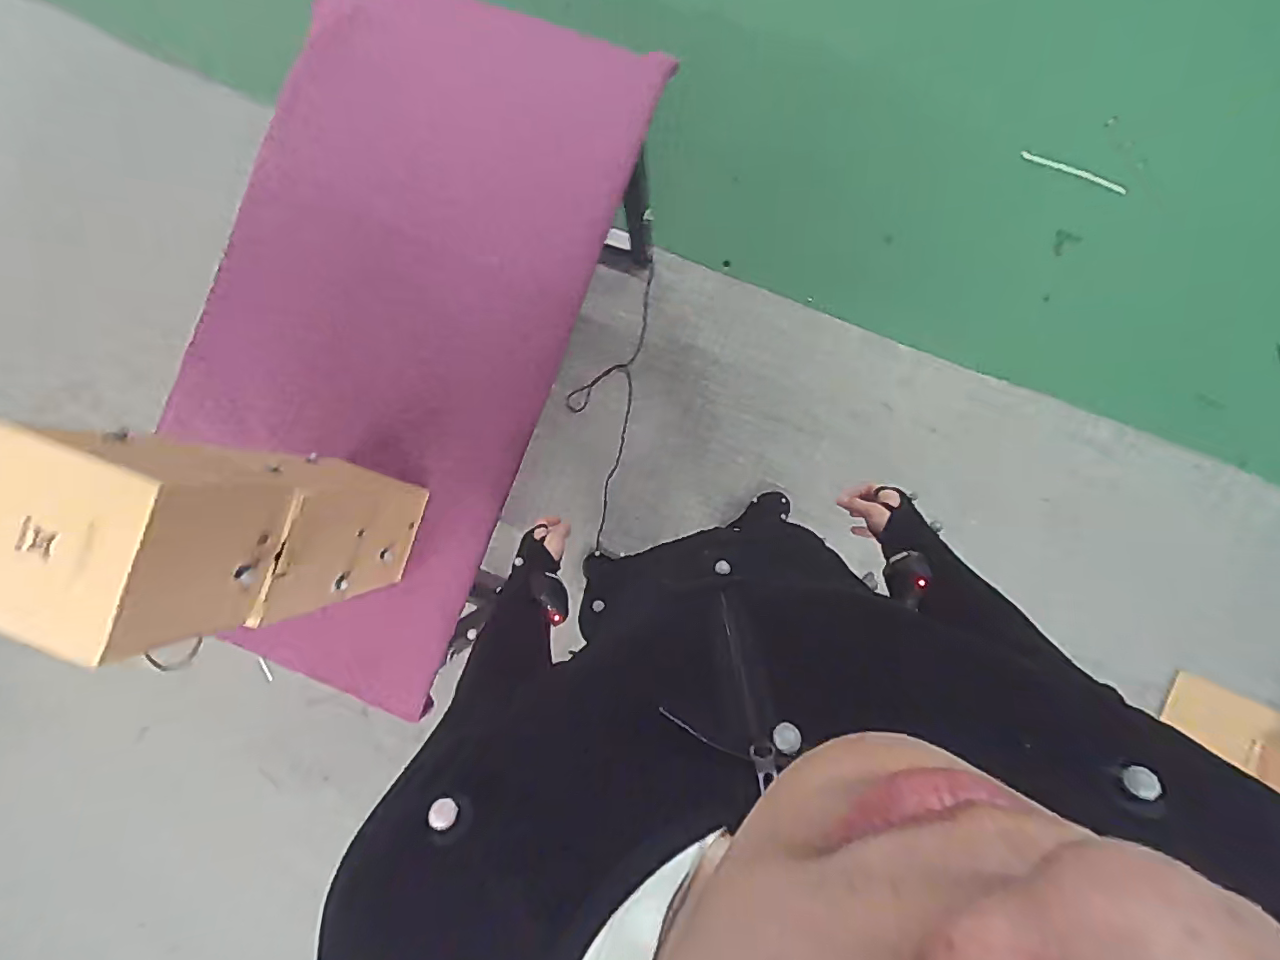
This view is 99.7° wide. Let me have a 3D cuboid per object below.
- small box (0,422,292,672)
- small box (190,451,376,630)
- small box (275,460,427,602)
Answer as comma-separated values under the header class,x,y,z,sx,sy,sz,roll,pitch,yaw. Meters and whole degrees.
class,x,y,z,sx,sy,sz,roll,pitch,yaw
small box,-0.497,0.058,0.531,0.179,0.176,0.168,19,90,4
small box,-0.479,0.068,0.693,0.179,0.176,0.168,19,89,5
small box,-0.469,0.074,0.857,0.179,0.176,0.168,18,90,5
